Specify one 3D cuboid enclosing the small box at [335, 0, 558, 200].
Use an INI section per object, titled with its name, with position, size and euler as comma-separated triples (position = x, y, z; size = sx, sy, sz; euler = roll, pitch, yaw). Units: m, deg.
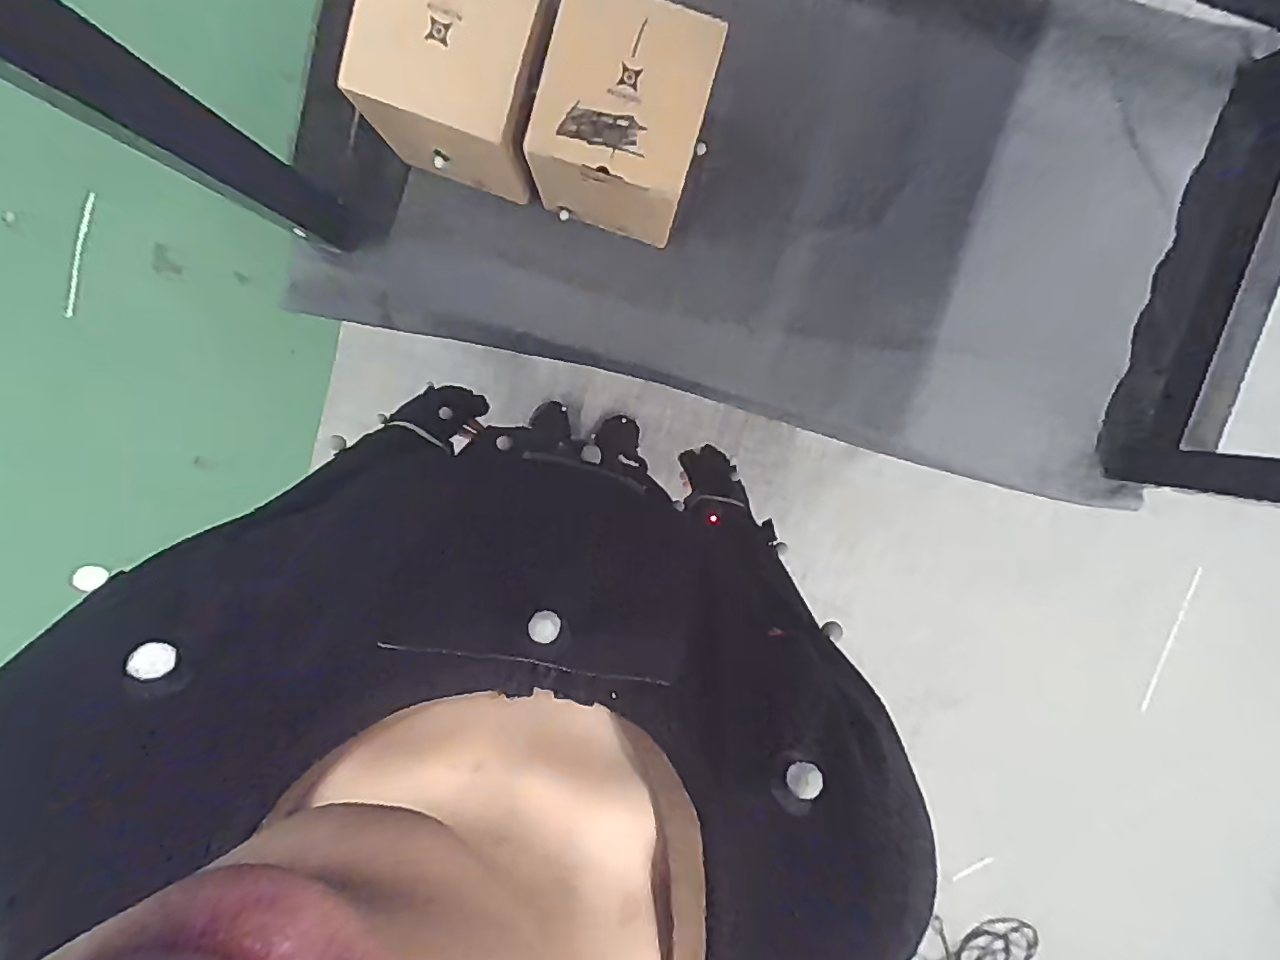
[small box]
position = -0.195, -0.444, 0.595
size = 0.168, 0.176, 0.179
euler = 18, 96, -6
